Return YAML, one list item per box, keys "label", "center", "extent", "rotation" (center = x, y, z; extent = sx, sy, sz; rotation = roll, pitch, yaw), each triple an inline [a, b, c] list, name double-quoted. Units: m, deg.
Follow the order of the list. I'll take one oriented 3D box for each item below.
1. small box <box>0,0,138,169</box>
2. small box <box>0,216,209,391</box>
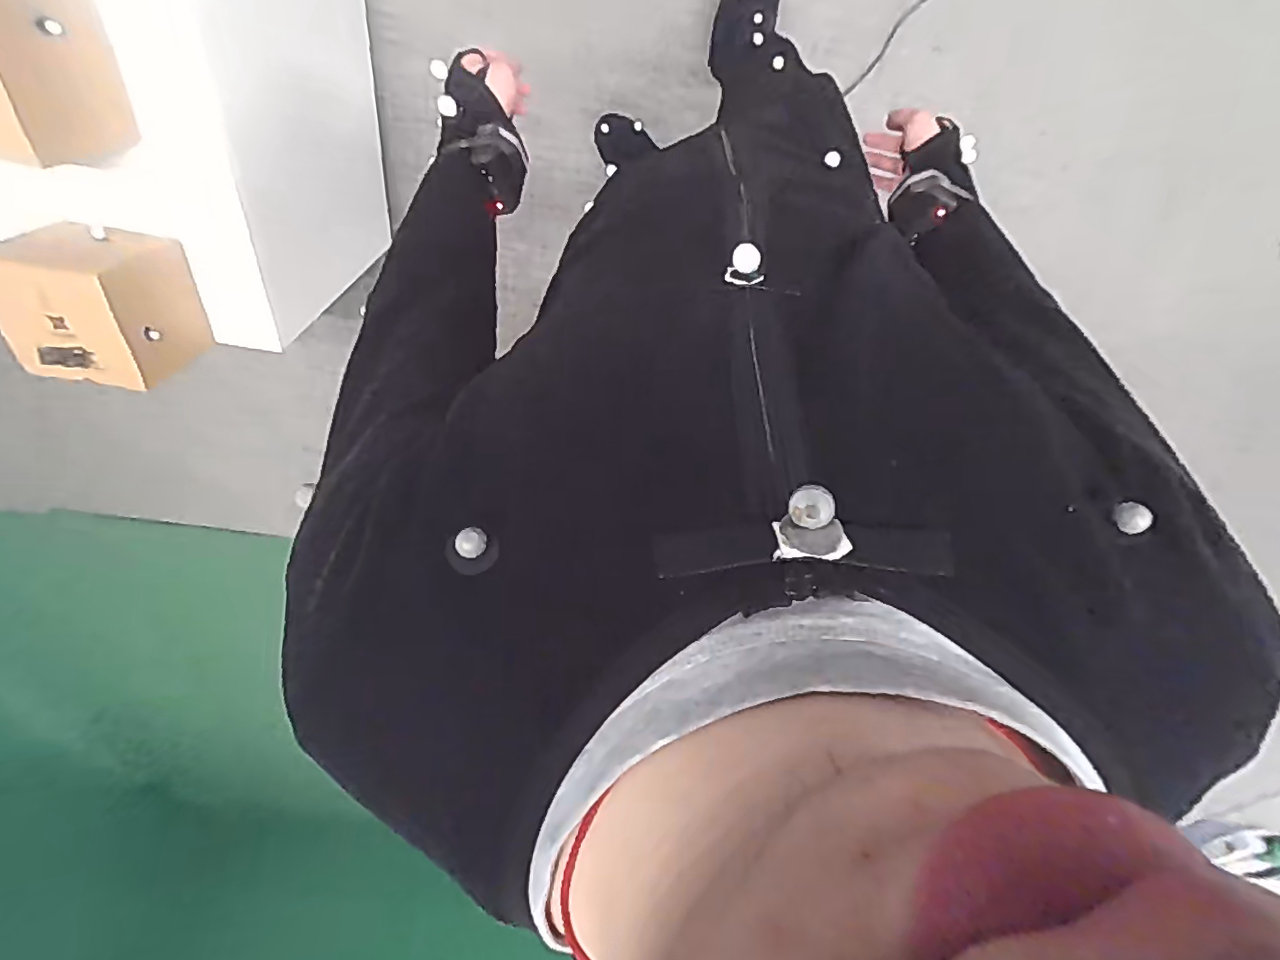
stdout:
- label: "small box"
  center: [-0.723, -0.476, 0.593]
  extent: [0.168, 0.176, 0.179]
  rotation: [10, 134, -7]
- label: "small box"
  center: [-0.782, -0.258, 0.788]
  extent: [0.168, 0.176, 0.179]
  rotation: [7, 130, -7]
